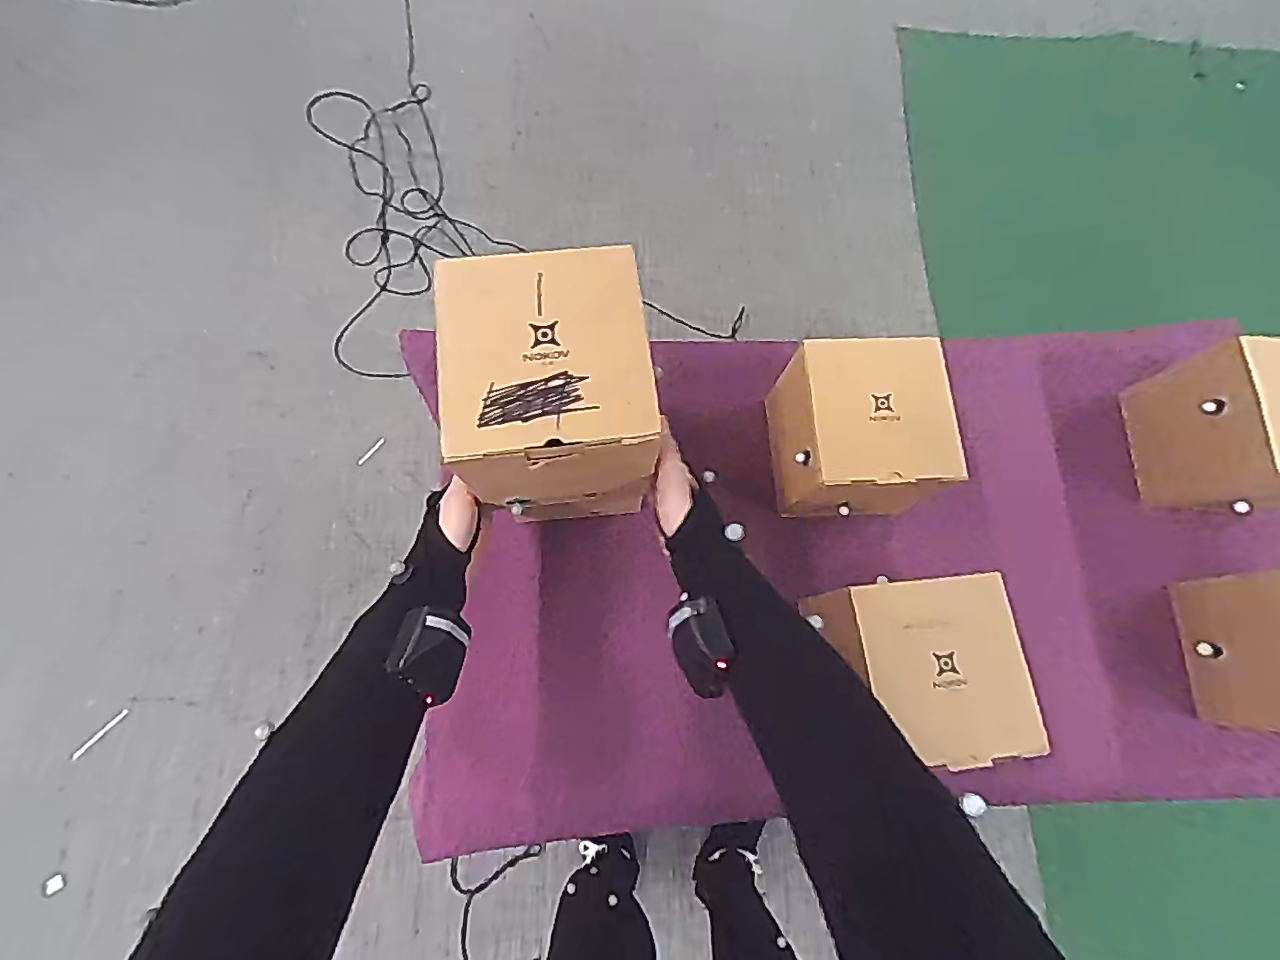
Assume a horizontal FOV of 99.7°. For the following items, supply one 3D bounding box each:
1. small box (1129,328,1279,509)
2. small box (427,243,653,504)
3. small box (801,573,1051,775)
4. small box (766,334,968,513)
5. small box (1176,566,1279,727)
[{"bbox_3d":[0.785,-0.071,0.693,0.168,0.176,0.179,3,74,0],"label":"small box"},{"bbox_3d":[-0.082,-0.081,0.494,0.168,0.176,0.179,-7,73,-5],"label":"small box"},{"bbox_3d":[0.295,0.205,0.600,0.168,0.176,0.179,-4,73,-4],"label":"small box"},{"bbox_3d":[0.265,-0.062,0.676,0.168,0.176,0.179,-2,76,-3],"label":"small box"},{"bbox_3d":[0.785,0.195,0.618,0.168,0.176,0.179,3,73,-1],"label":"small box"}]
